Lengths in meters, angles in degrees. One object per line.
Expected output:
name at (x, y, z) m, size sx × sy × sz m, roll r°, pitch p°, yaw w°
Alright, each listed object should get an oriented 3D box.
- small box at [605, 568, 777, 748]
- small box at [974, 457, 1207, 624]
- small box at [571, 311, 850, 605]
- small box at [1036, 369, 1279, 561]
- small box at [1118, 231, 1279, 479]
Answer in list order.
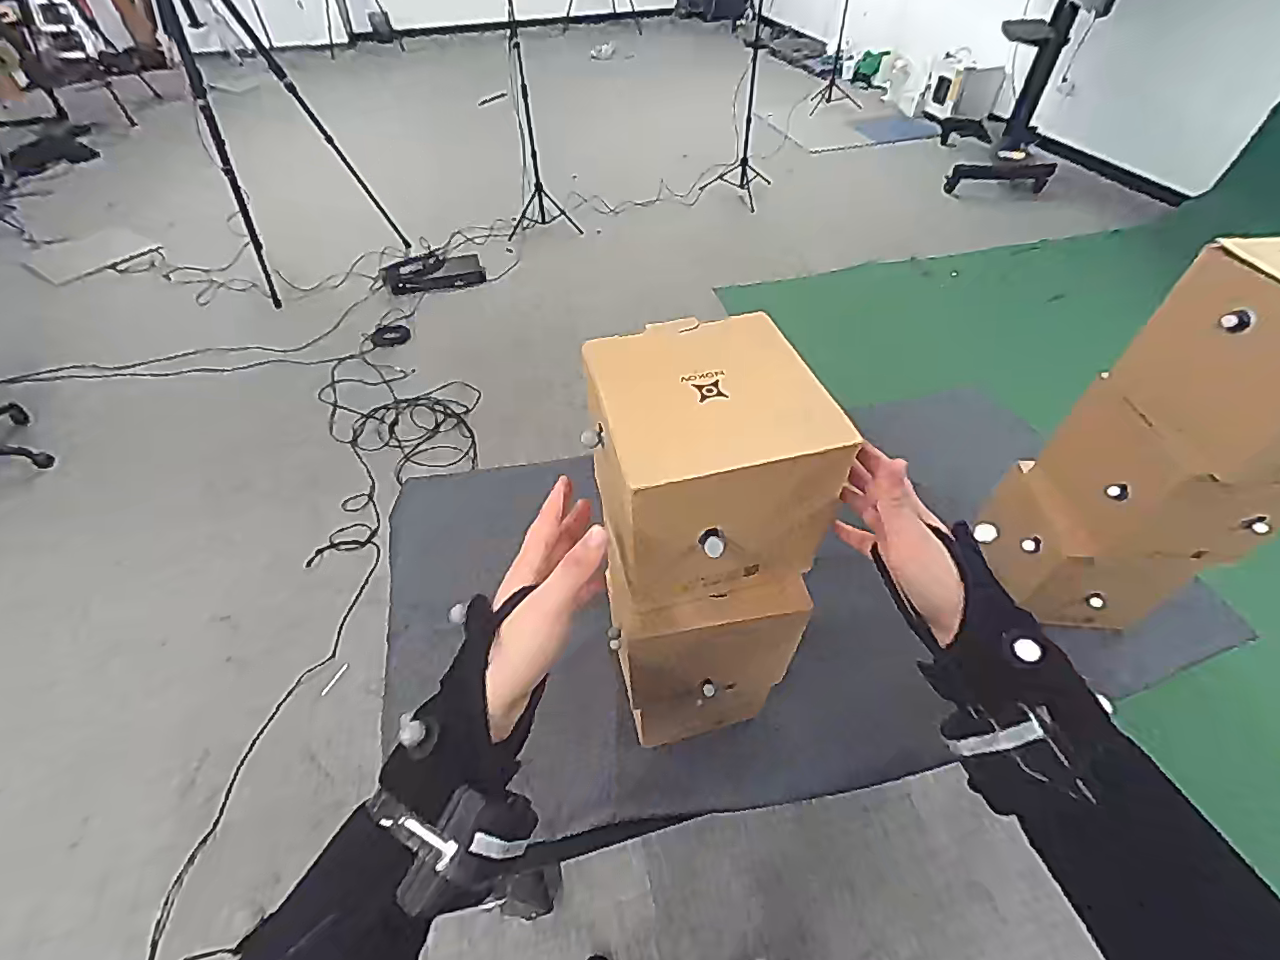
small box at (0.055, 0.213, 0.697) m, size 0.168 × 0.176 × 0.179 m, roll -12°, pitch 49°, yaw -8°
small box at (0.619, 0.089, 0.774) m, size 0.168 × 0.176 × 0.179 m, roll 3°, pitch 47°, yaw 5°
small box at (0.045, -0.013, 0.459) m, size 0.168 × 0.176 × 0.179 m, roll -12°, pitch 49°, yaw -8°
small box at (0.634, -0.016, 0.650) m, size 0.168 × 0.176 × 0.179 m, roll 0°, pitch 46°, yaw 1°
small box at (0.637, -0.123, 0.524) m, size 0.168 × 0.176 × 0.179 m, roll -5°, pitch 48°, yaw -3°
